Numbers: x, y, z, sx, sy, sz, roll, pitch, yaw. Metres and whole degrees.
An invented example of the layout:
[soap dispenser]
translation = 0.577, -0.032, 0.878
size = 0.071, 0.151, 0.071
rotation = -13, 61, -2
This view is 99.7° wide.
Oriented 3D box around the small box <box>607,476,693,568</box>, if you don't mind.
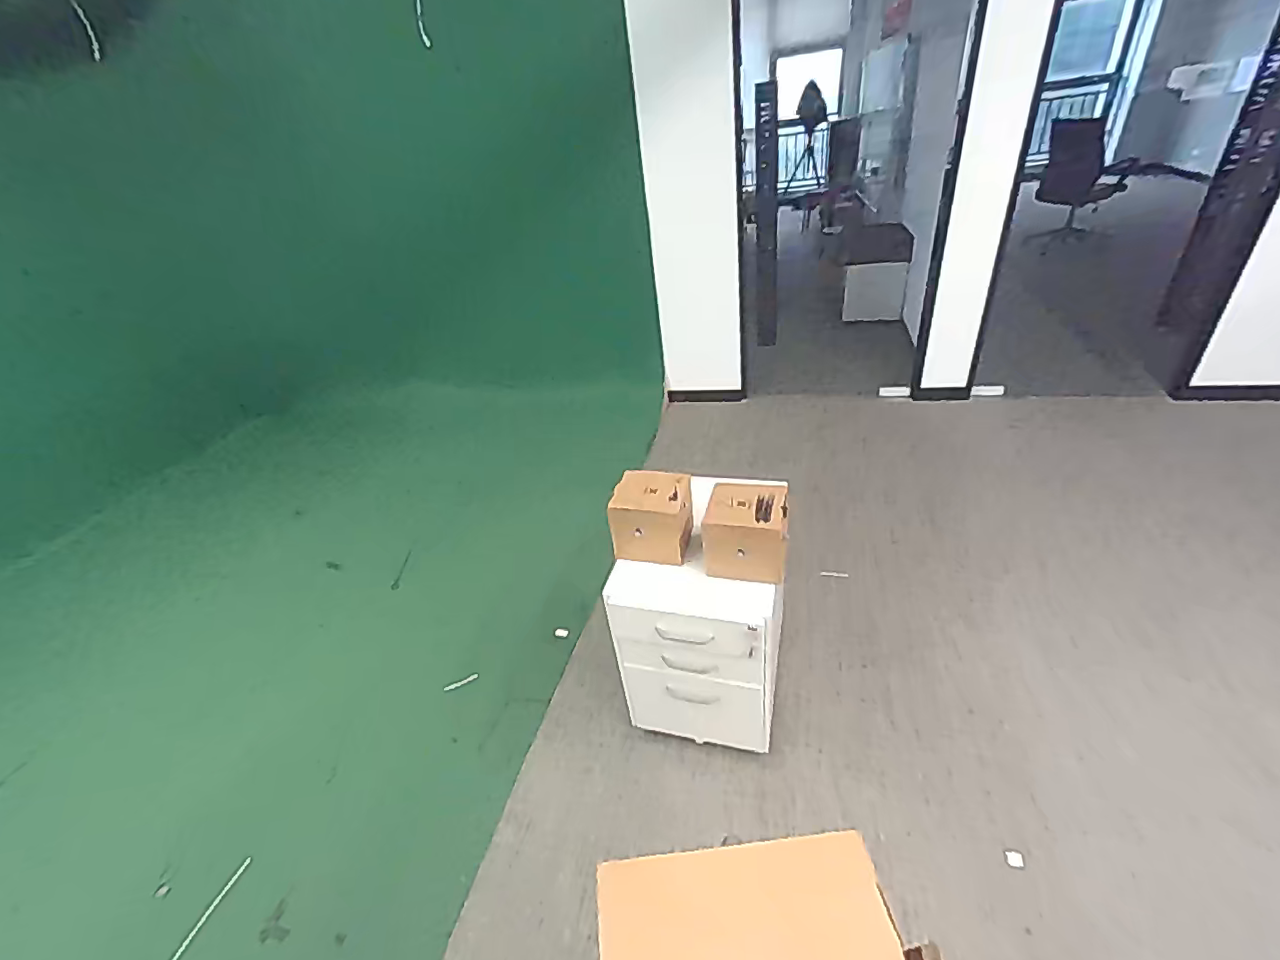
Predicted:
[small box]
translation = 0.032, 0.106, 1.374
size = 0.179, 0.176, 0.168
rotation = 4, 35, 16
